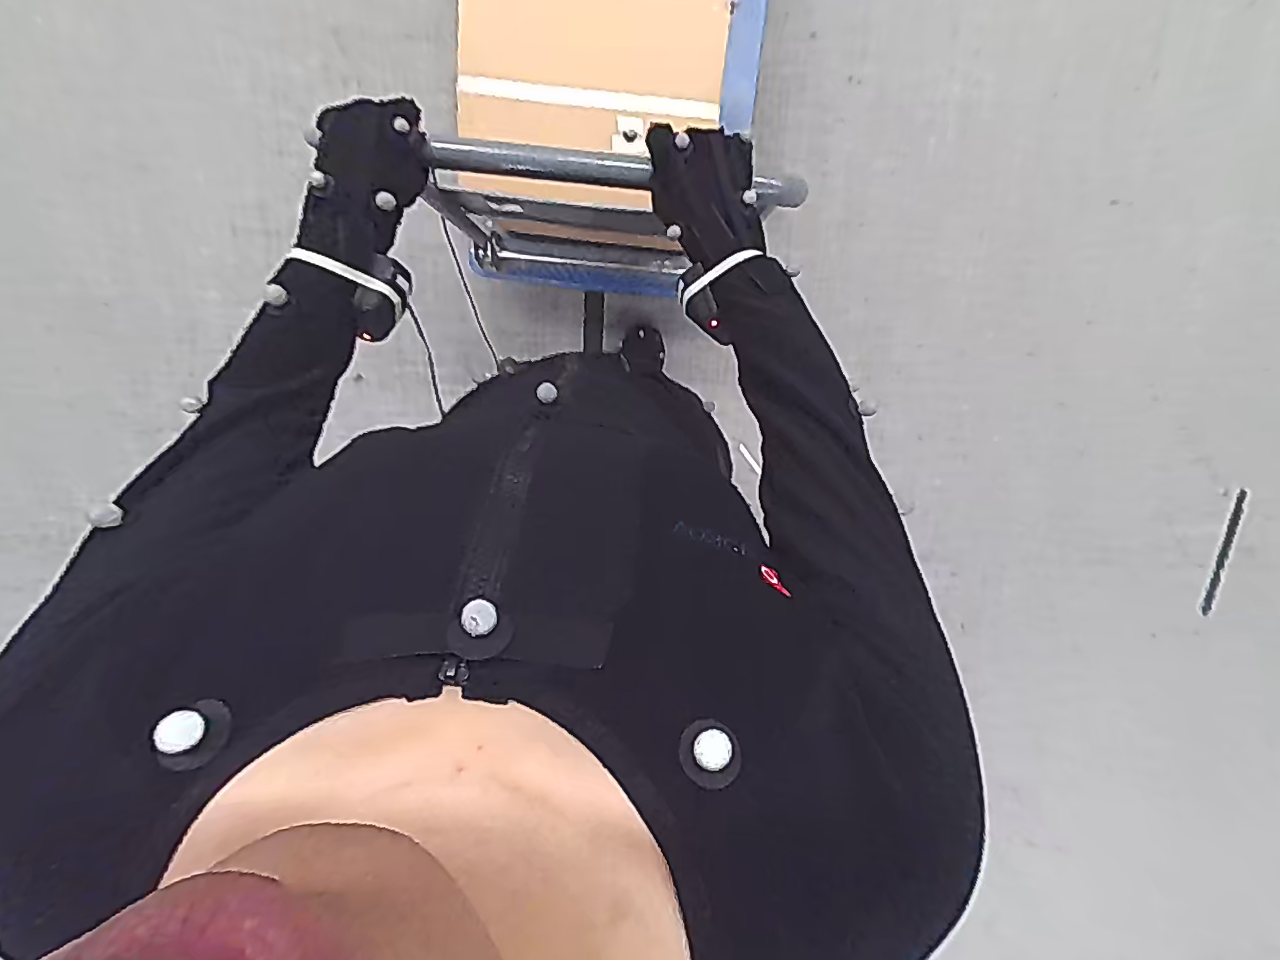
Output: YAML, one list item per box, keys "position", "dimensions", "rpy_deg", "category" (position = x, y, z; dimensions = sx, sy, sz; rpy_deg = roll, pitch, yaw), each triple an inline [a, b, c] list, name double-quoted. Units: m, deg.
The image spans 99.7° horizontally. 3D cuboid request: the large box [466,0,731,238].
- position: [-0.077, -0.647, 0.988]
  dimensions: [0.408, 0.320, 0.320]
  rpy_deg: [4, 106, -3]
  category: "large box"
